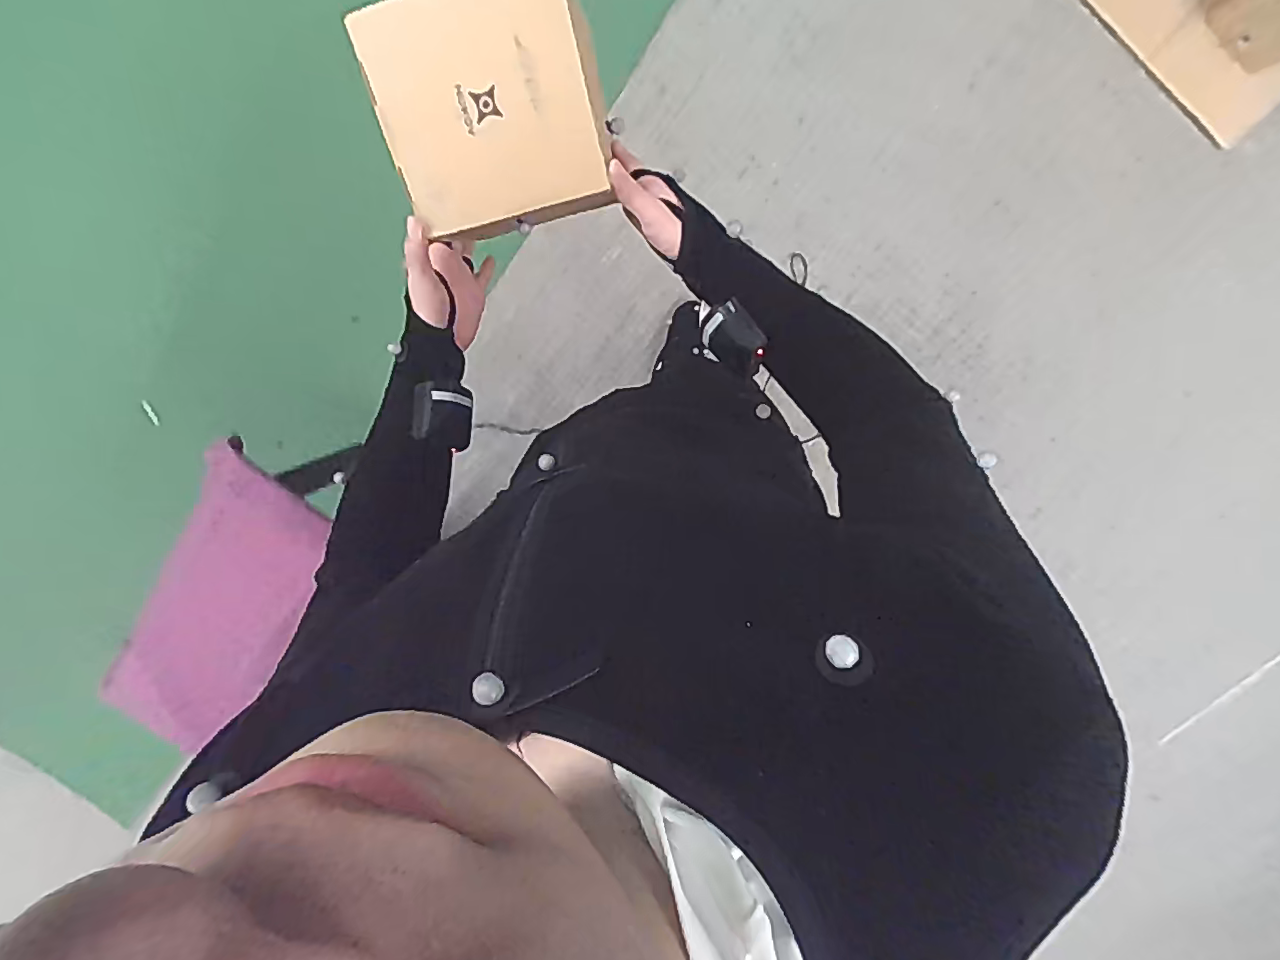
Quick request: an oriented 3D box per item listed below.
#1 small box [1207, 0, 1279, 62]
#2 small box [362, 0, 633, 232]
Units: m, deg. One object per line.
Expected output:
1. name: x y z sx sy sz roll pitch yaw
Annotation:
1. small box: 1.377 -1.026 1.128 0.179 0.176 0.168 42 105 -7
2. small box: -0.111 -0.337 0.509 0.179 0.176 0.168 -10 114 8
